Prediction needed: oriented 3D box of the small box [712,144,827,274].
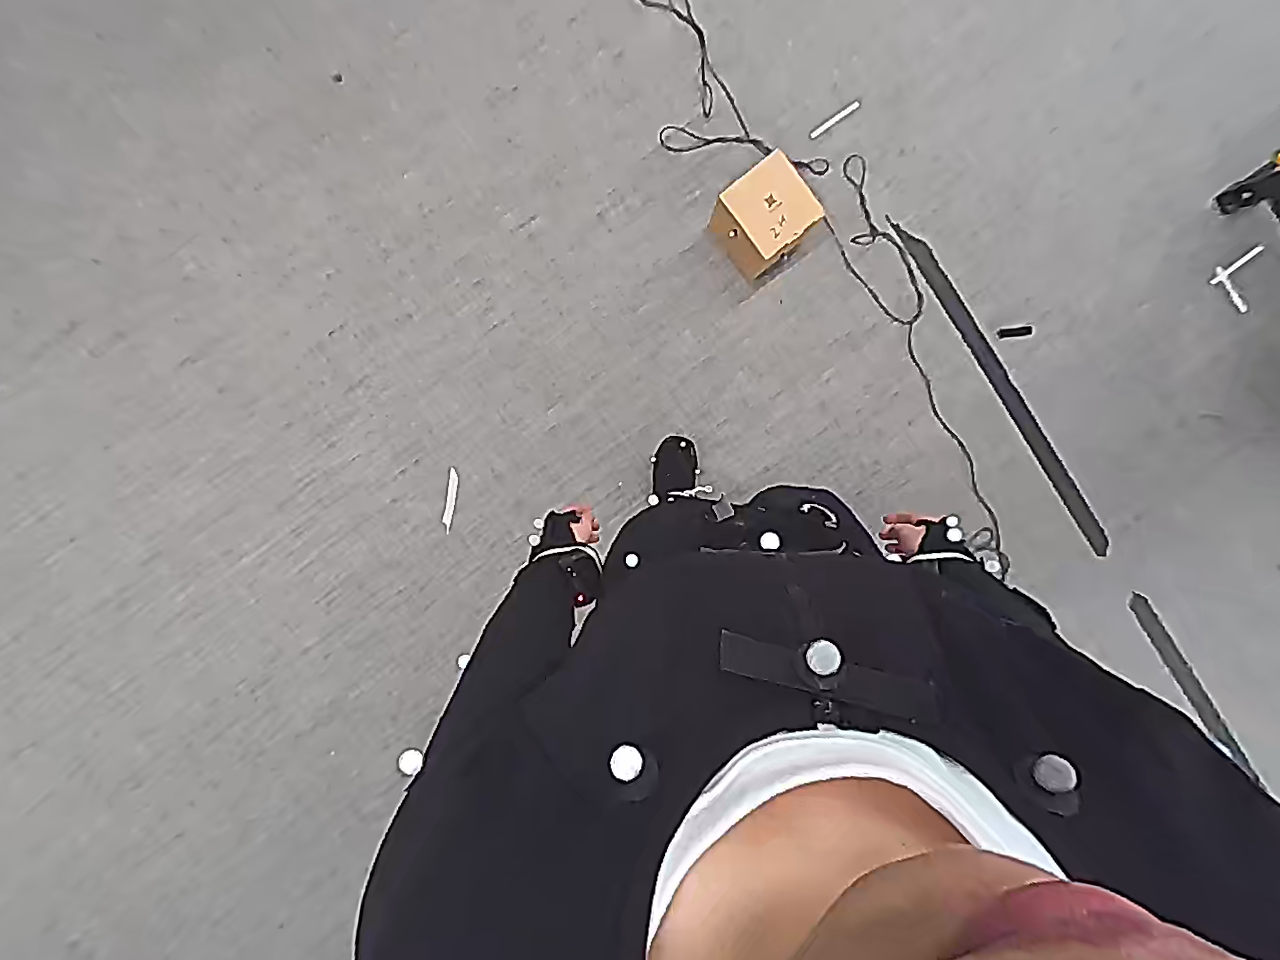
[{"bbox_3d":[0.283,-0.603,1.230,0.168,0.176,0.179,-38,95,3],"label":"small box"}]
